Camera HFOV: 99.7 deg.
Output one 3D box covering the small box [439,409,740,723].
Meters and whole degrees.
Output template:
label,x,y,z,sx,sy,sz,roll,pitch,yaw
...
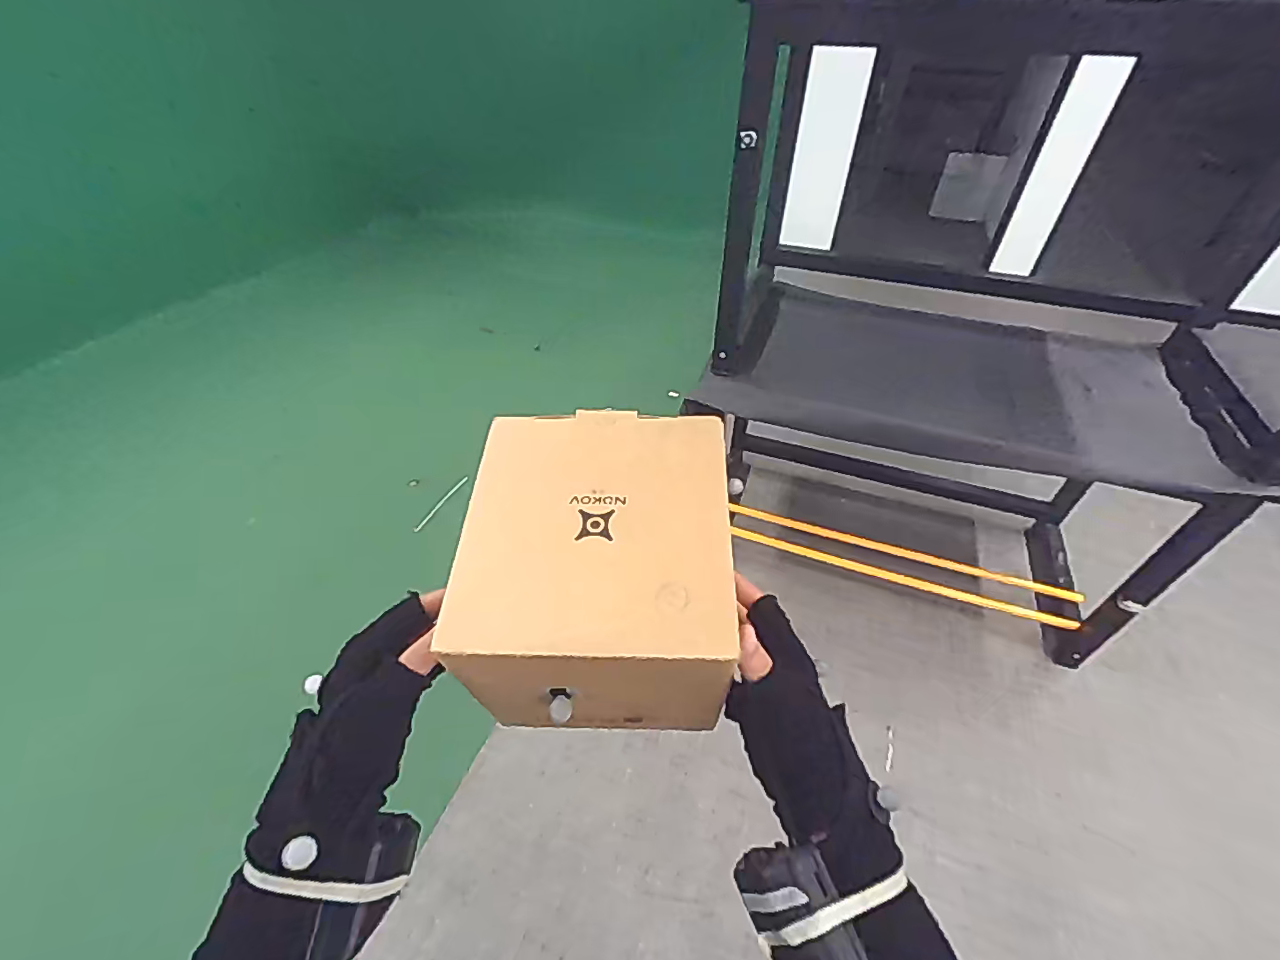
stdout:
label,x,y,z,sx,sy,sz,roll,pitch,yaw
small box,-0.021,0.068,0.397,0.168,0.176,0.179,0,52,2
